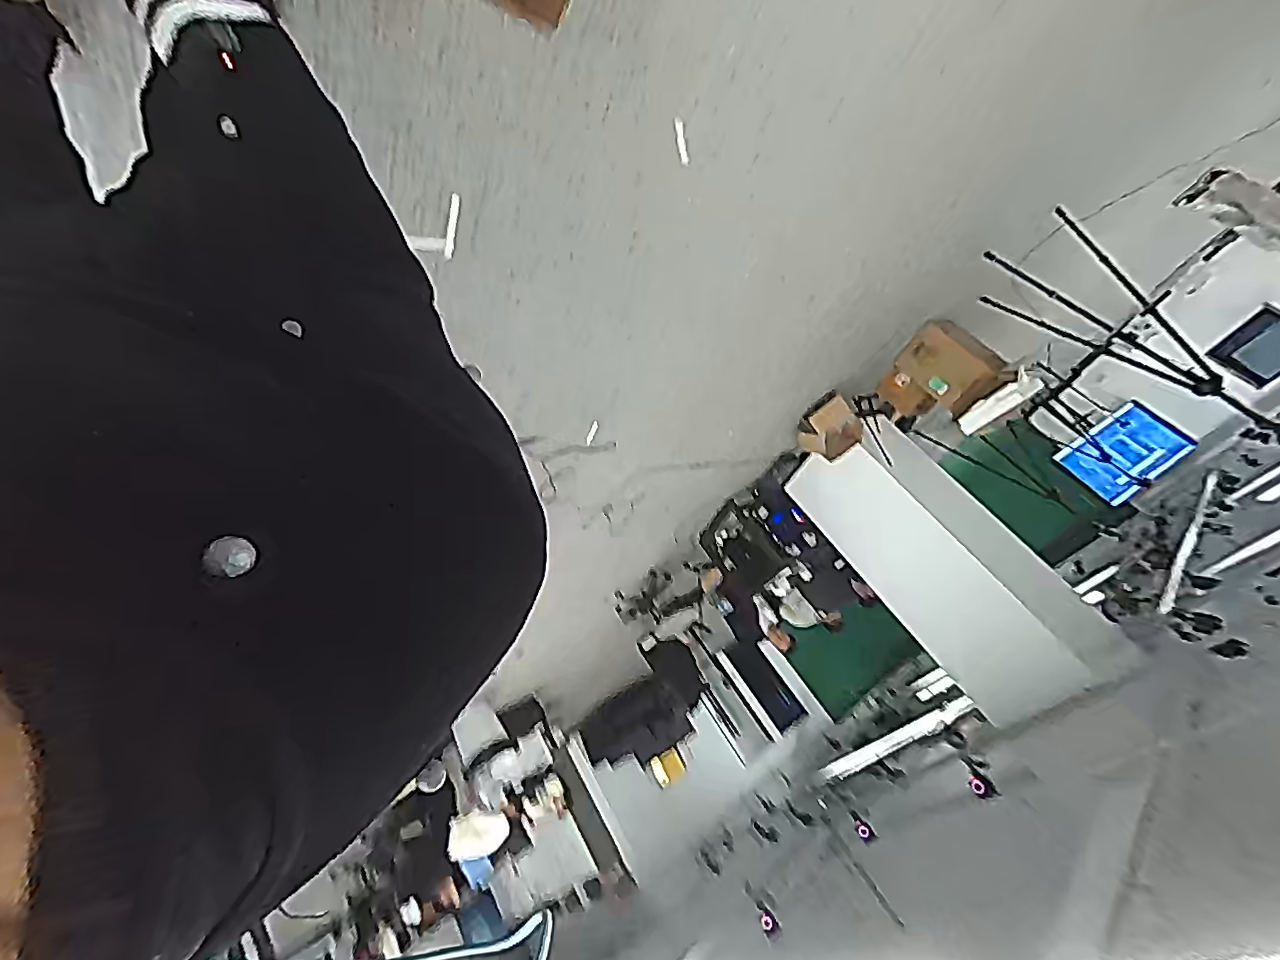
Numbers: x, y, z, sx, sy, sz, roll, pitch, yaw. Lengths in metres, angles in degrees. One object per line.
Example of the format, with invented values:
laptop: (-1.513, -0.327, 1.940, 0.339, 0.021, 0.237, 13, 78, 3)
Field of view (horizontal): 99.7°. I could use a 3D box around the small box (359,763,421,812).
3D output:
small box: (-1.006, 1.185, 2.170, 0.179, 0.176, 0.168, -15, 145, -38)
